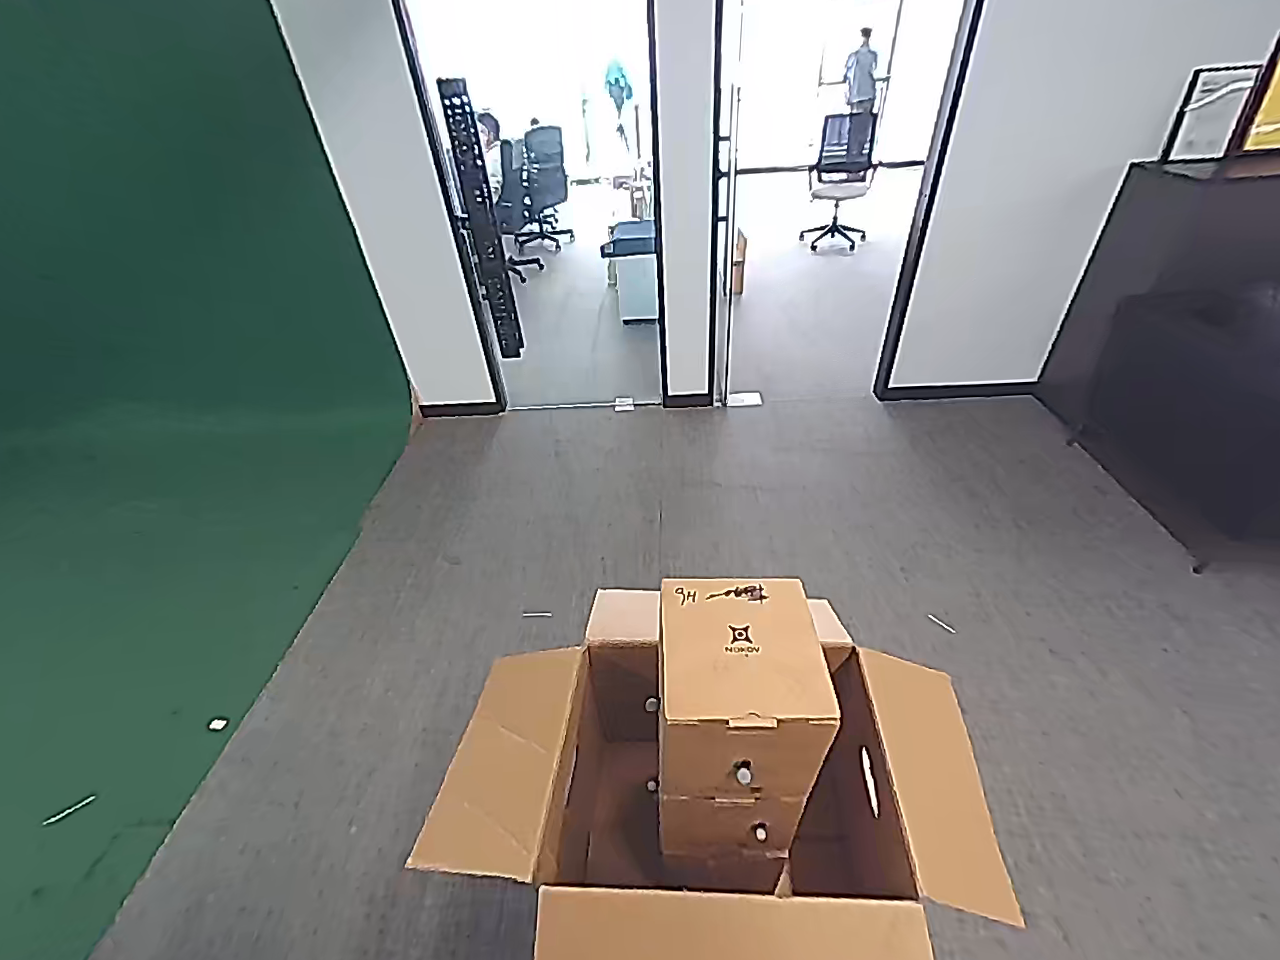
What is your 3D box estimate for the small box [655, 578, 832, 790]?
[{"bbox_3d":[0.103,0.234,0.620,0.168,0.176,0.179,1,39,0],"label":"small box"}]
